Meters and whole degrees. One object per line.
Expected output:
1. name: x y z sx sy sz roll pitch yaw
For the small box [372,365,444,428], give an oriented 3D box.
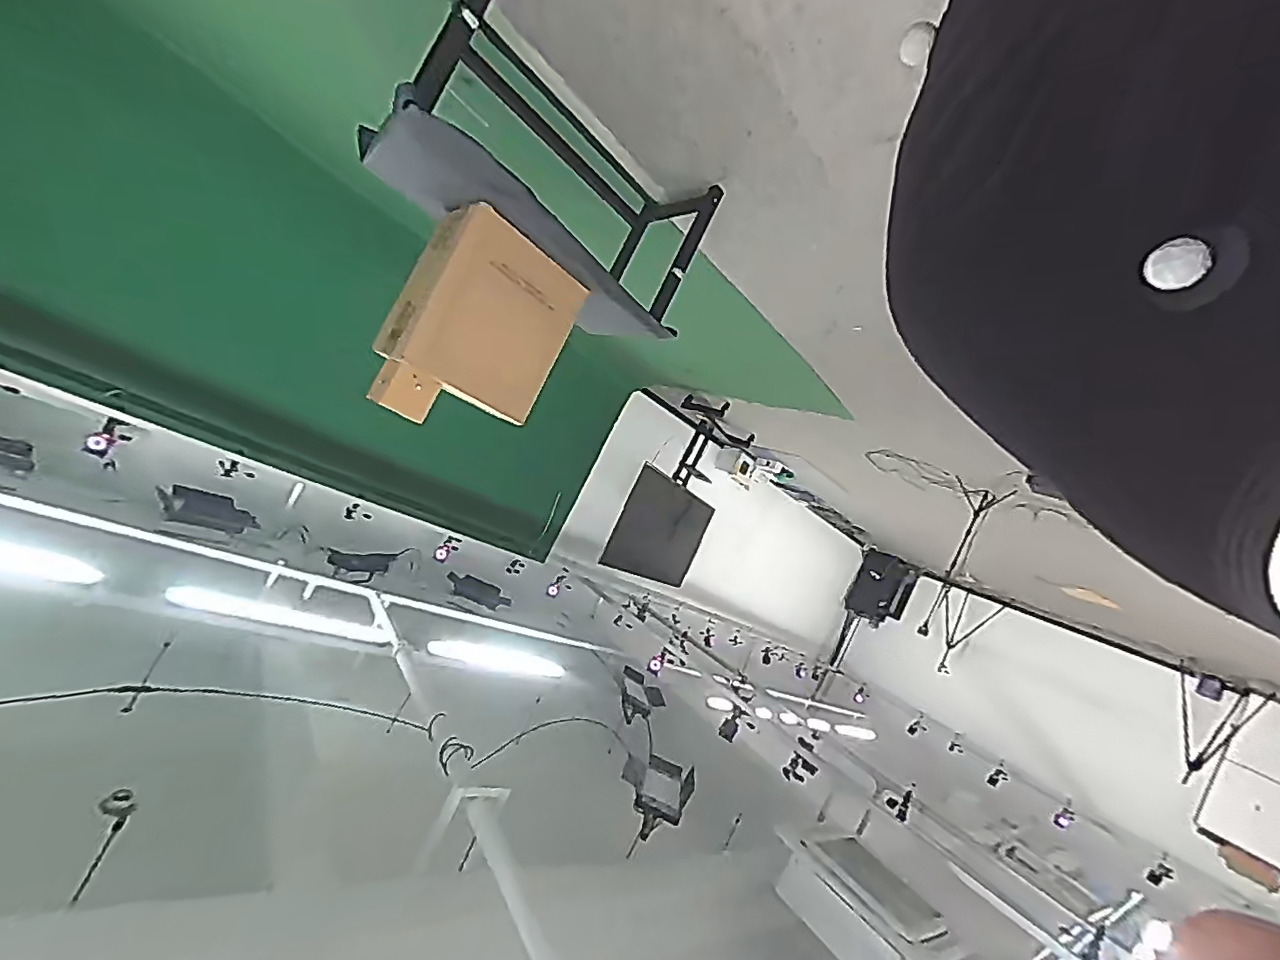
1. small box: -0.868 -0.316 2.028 0.179 0.176 0.168 19 171 47
